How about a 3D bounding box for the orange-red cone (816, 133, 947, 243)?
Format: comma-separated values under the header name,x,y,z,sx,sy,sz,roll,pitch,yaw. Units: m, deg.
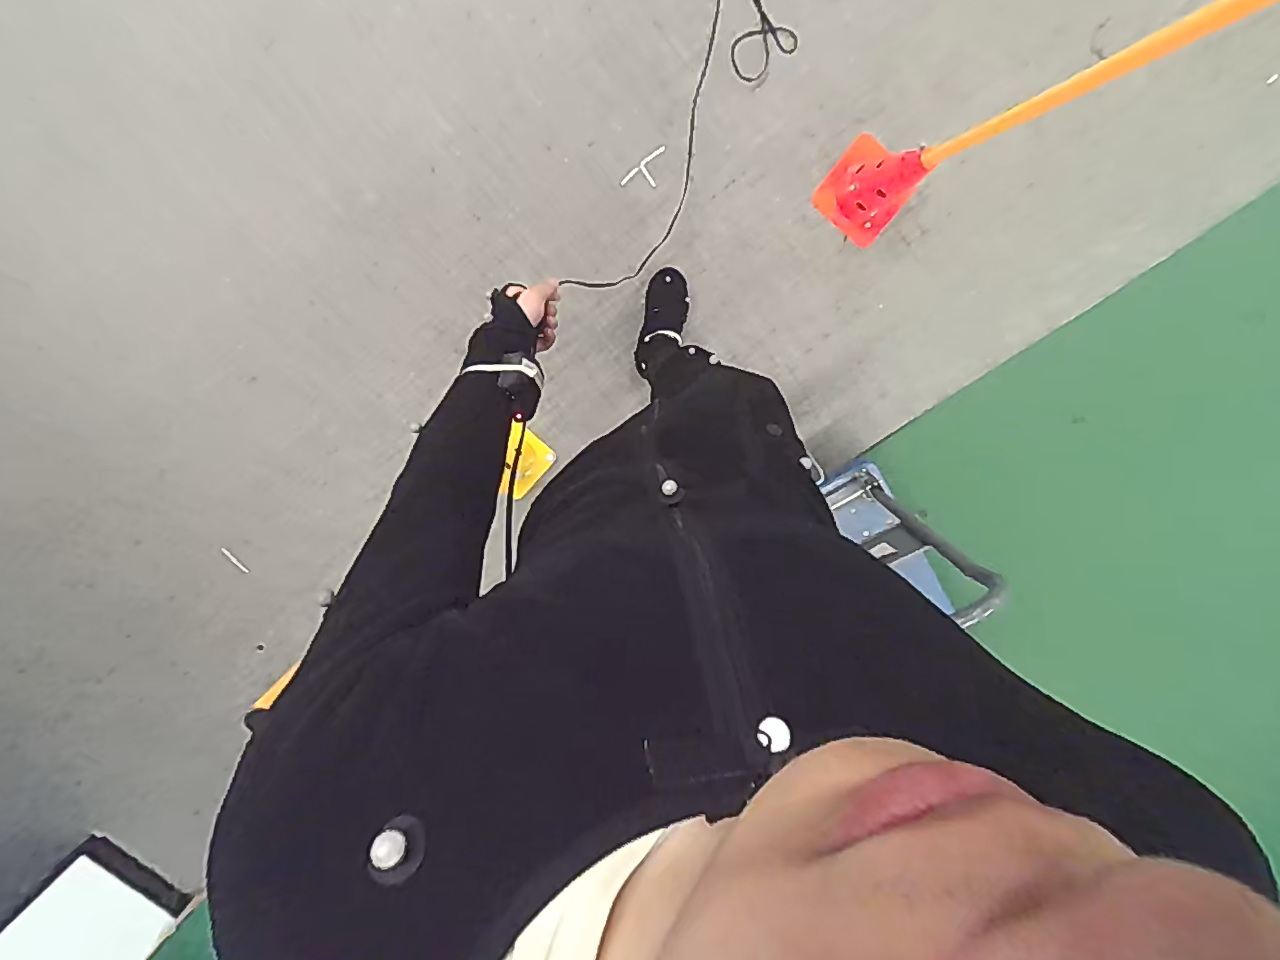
name,x,y,z,sx,sy,sz,roll,pitch,yaw
orange-red cone,0.570,-0.679,1.199,0.198,0.360,0.199,37,104,-11
